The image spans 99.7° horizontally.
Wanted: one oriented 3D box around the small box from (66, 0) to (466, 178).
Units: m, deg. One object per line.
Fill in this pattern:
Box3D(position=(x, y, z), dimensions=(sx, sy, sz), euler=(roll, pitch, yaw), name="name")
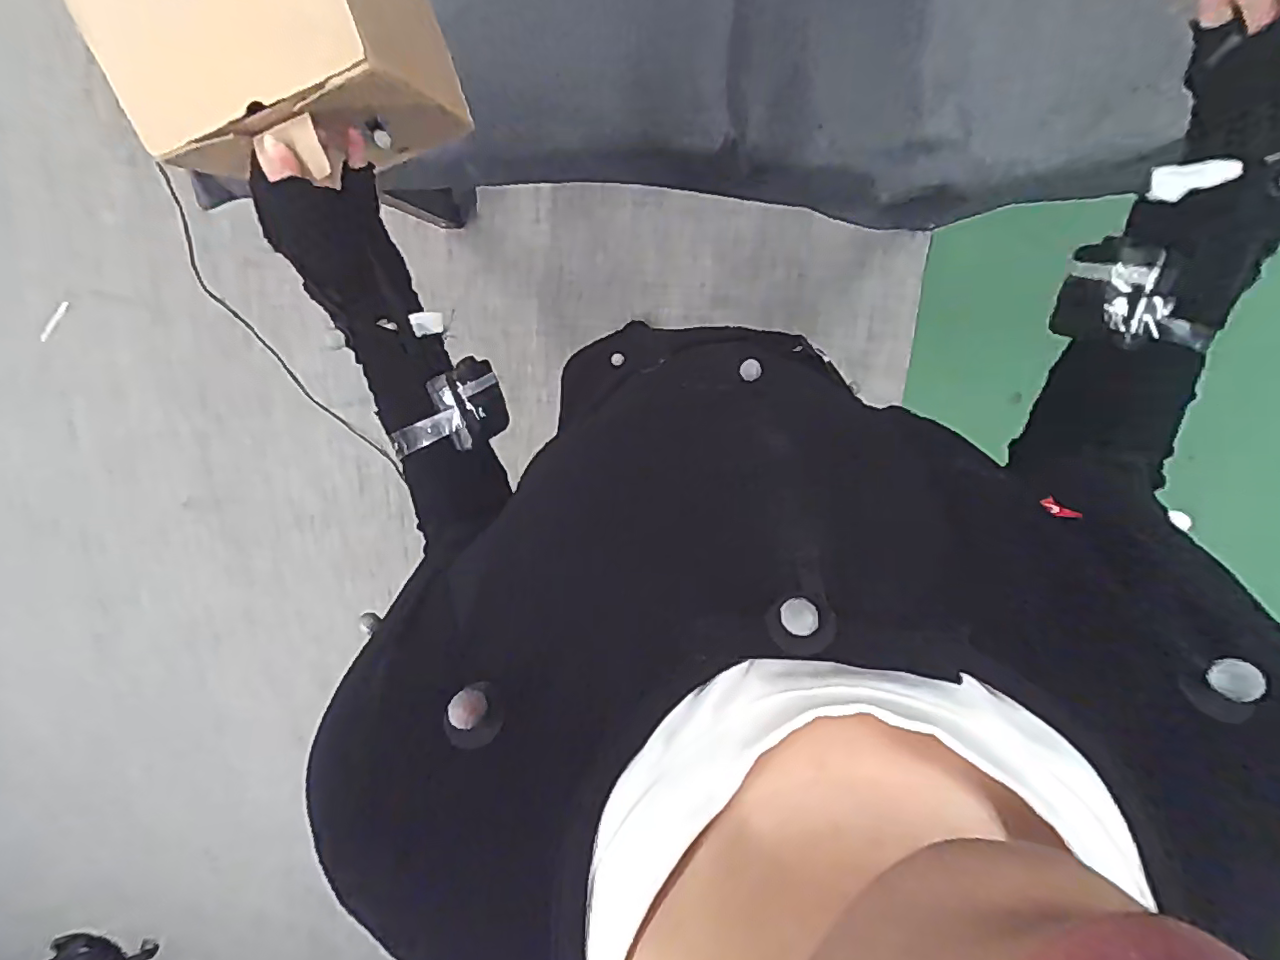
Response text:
Box3D(position=(-0.249, -0.329, 0.373), dimensions=(0.168, 0.176, 0.179), euler=(-15, 109, 10), name="small box")
